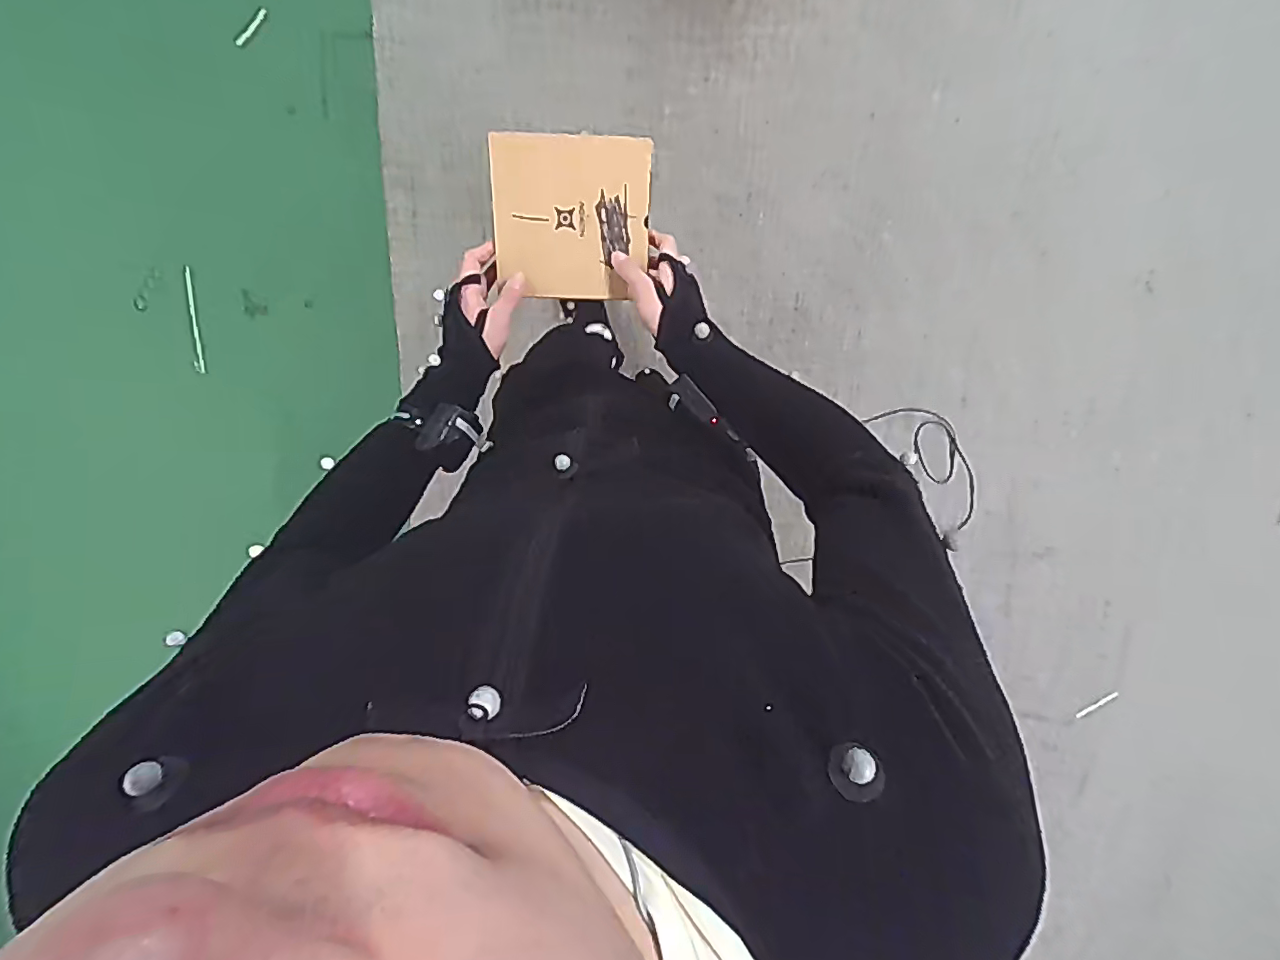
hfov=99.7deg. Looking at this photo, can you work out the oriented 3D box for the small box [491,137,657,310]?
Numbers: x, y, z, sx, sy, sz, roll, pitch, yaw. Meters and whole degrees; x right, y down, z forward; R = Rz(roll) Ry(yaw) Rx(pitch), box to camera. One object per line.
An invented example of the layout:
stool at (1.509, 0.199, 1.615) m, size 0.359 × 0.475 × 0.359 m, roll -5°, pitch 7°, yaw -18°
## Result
small box at (-0.079, -0.304, 0.667) m, size 0.179 × 0.176 × 0.168 m, roll 1°, pitch 109°, yaw -5°
